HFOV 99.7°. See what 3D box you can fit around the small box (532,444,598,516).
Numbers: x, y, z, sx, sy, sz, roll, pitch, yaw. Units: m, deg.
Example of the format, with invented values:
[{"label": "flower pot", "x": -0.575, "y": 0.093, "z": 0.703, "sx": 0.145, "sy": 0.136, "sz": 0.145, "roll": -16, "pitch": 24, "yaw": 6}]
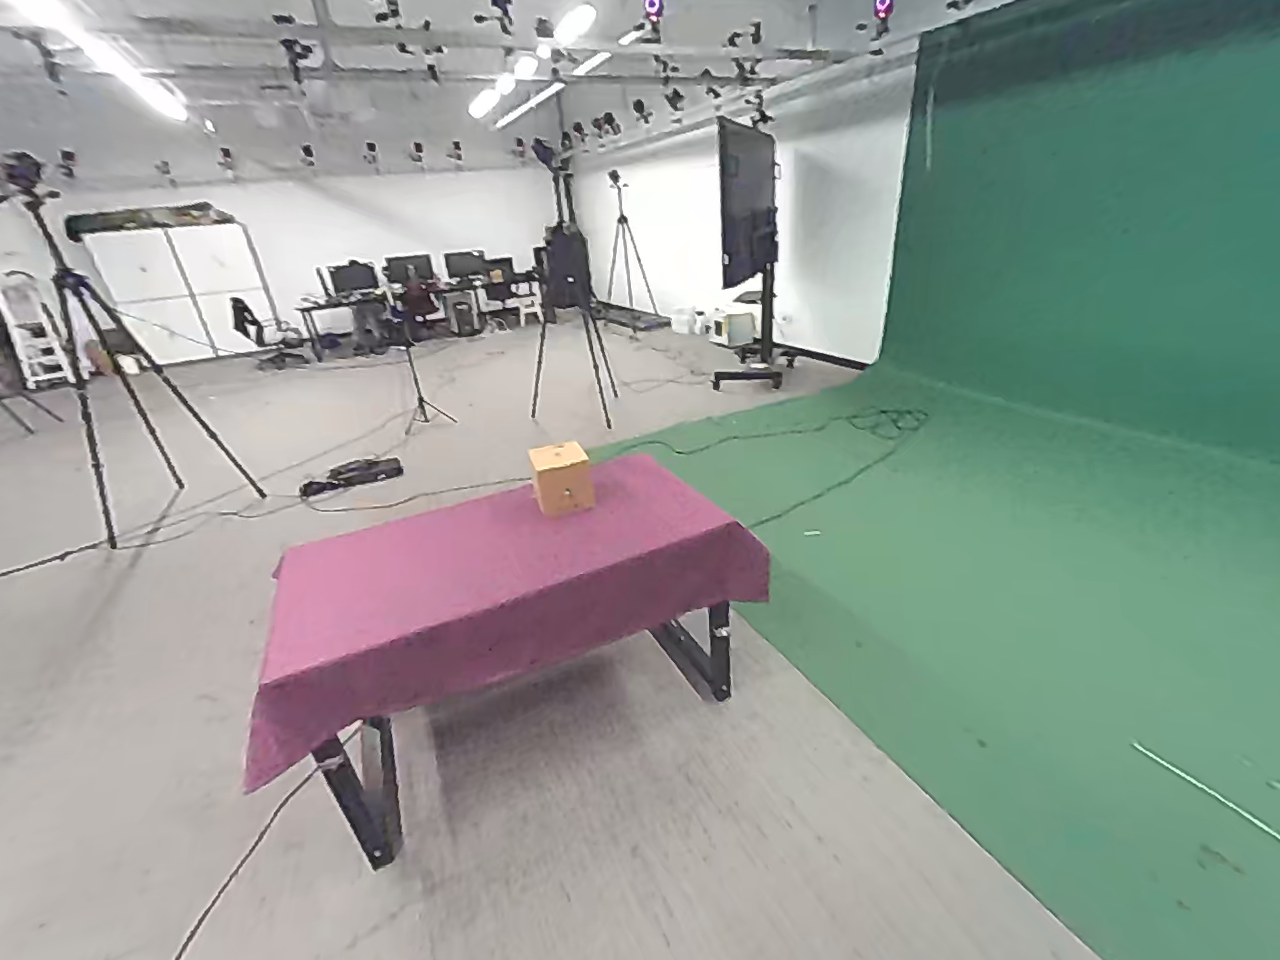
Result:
[{"label": "small box", "x": -0.240, "y": 0.005, "z": 1.734, "sx": 0.168, "sy": 0.176, "sz": 0.179, "roll": -13, "pitch": 28, "yaw": -15}]
